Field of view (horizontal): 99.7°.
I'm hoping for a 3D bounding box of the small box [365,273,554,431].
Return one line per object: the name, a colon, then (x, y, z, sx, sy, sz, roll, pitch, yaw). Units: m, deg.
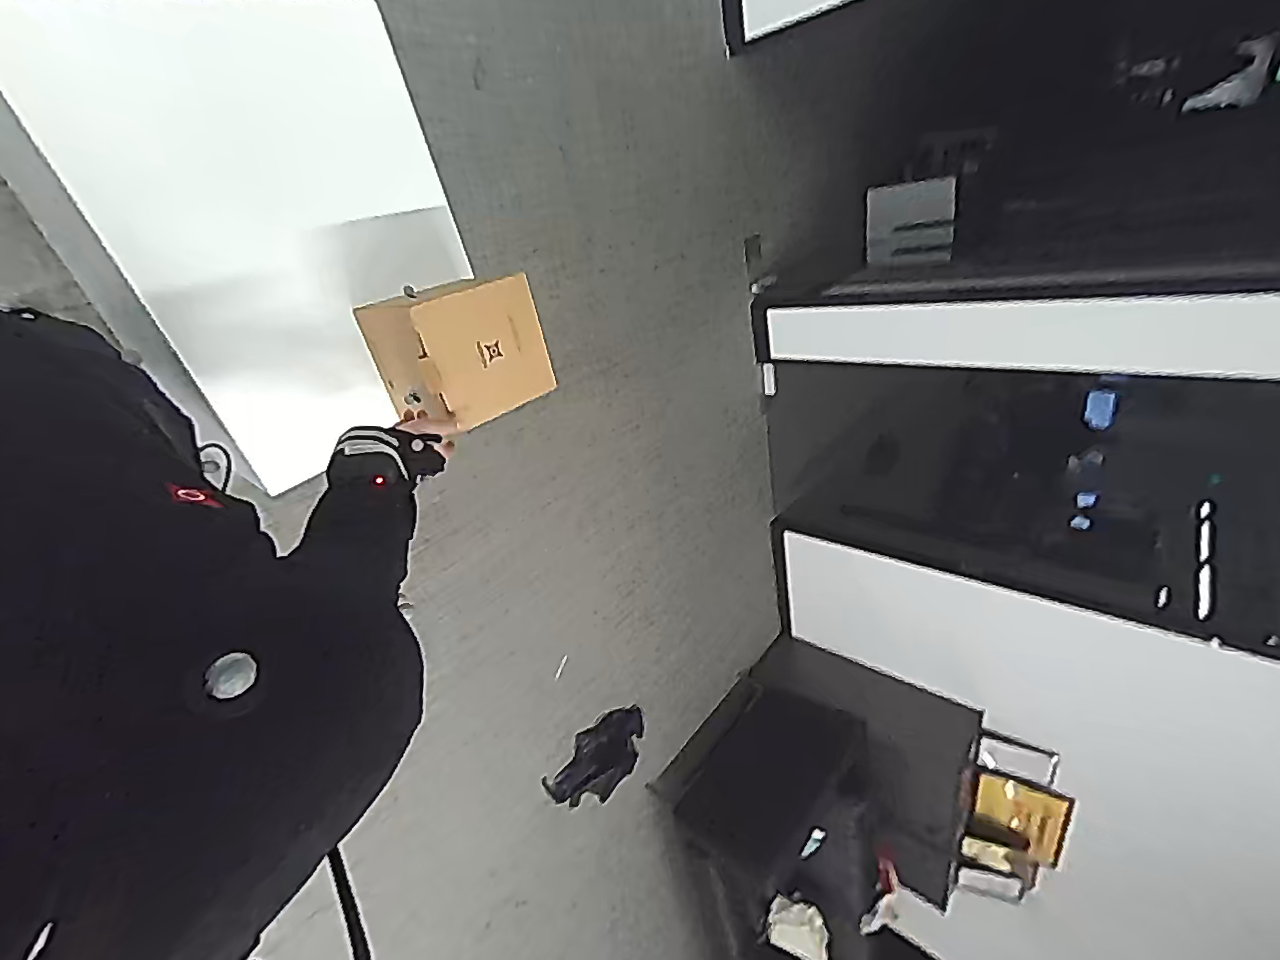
small box: (-0.256, -0.183, 0.760, 0.179, 0.176, 0.168, -36, 126, -37)
